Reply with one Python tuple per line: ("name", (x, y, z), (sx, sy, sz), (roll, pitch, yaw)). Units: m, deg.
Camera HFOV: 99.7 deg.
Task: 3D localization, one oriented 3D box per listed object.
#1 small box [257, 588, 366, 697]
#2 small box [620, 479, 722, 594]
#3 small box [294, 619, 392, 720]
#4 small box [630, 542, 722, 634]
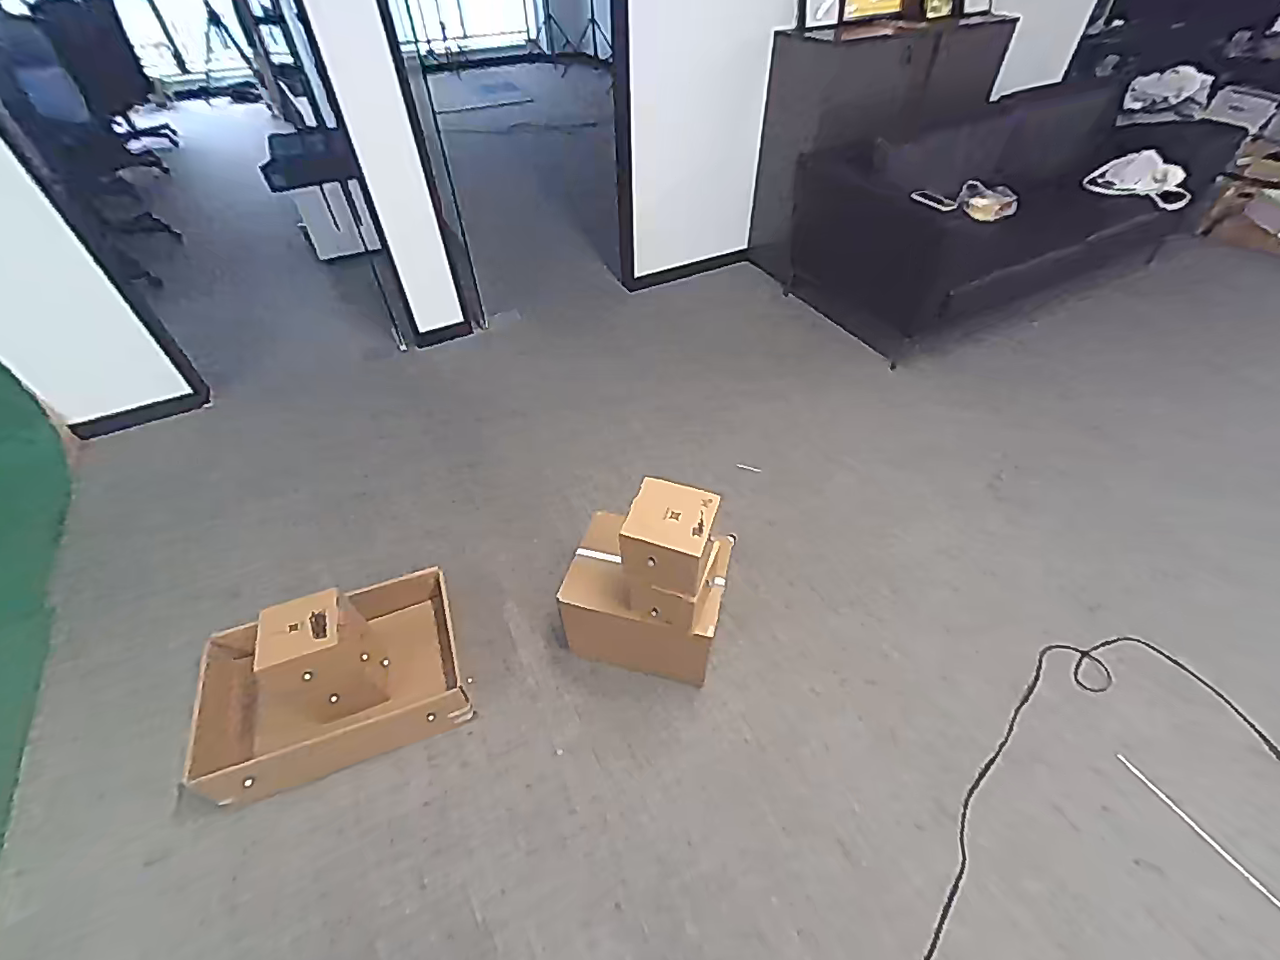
("small box", (-0.782, 0.394, 1.308), (0.179, 0.176, 0.168), (-17, 49, -12))
("small box", (0.069, 0.126, 1.186), (0.179, 0.176, 0.168), (15, 52, 15))
("small box", (-0.779, 0.504, 1.429), (0.179, 0.176, 0.168), (-17, 49, -14))
("small box", (0.085, 0.238, 1.307), (0.168, 0.176, 0.179), (18, 53, 17))
